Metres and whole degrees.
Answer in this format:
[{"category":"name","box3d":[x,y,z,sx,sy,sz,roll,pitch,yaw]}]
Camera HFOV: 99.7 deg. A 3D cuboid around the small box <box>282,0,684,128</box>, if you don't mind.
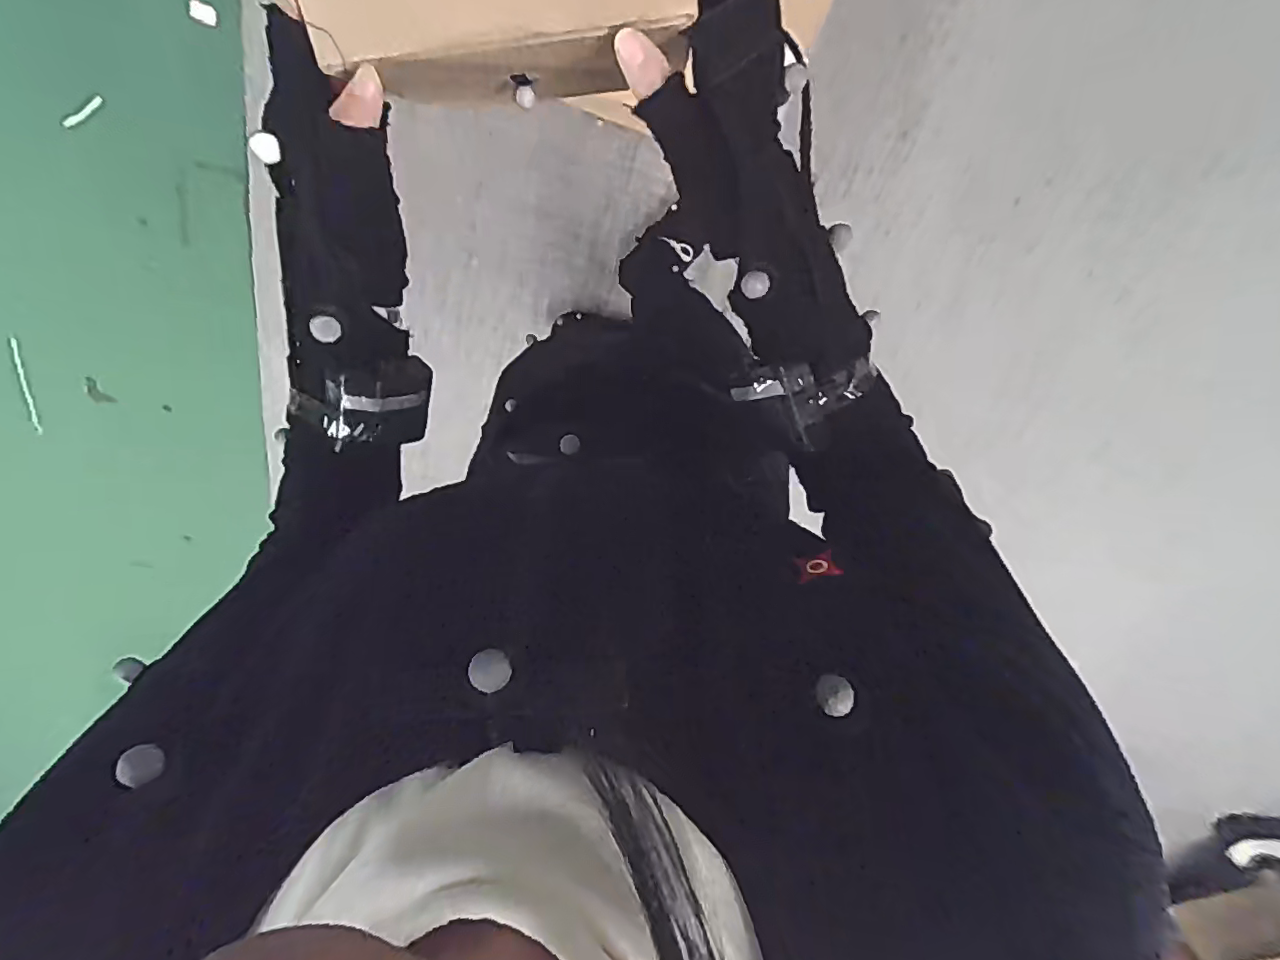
[{"category":"small box","box3d":[-0.073,-0.293,0.279,0.179,0.176,0.168,-4,118,5]}]
